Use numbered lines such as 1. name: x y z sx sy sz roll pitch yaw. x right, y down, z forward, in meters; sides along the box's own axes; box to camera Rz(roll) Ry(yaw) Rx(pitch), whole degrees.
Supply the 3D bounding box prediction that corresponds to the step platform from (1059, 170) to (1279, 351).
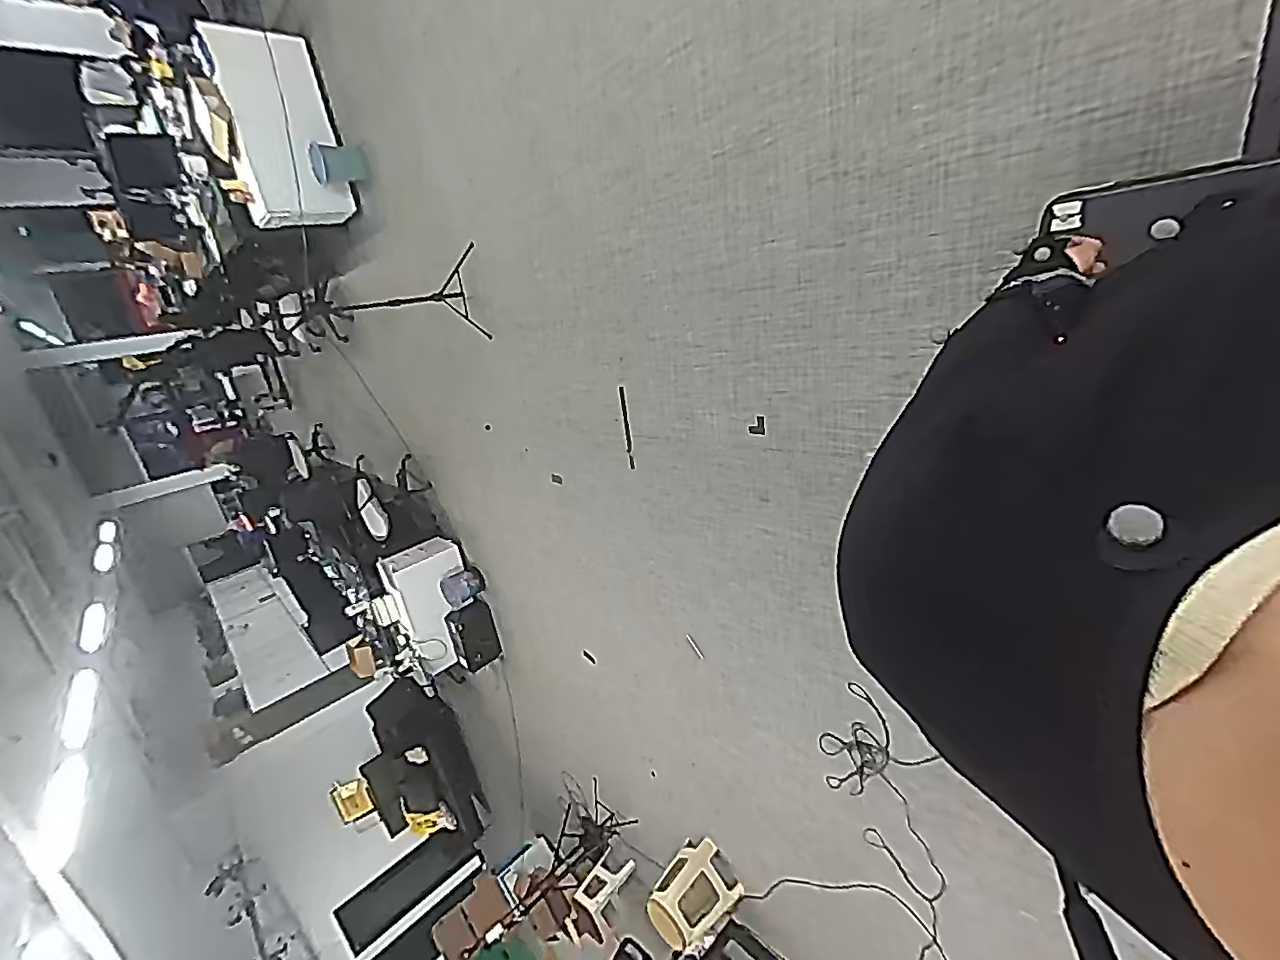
1. step platform: 1.126 -0.367 0.894 0.684 0.204 0.286 16 120 43
